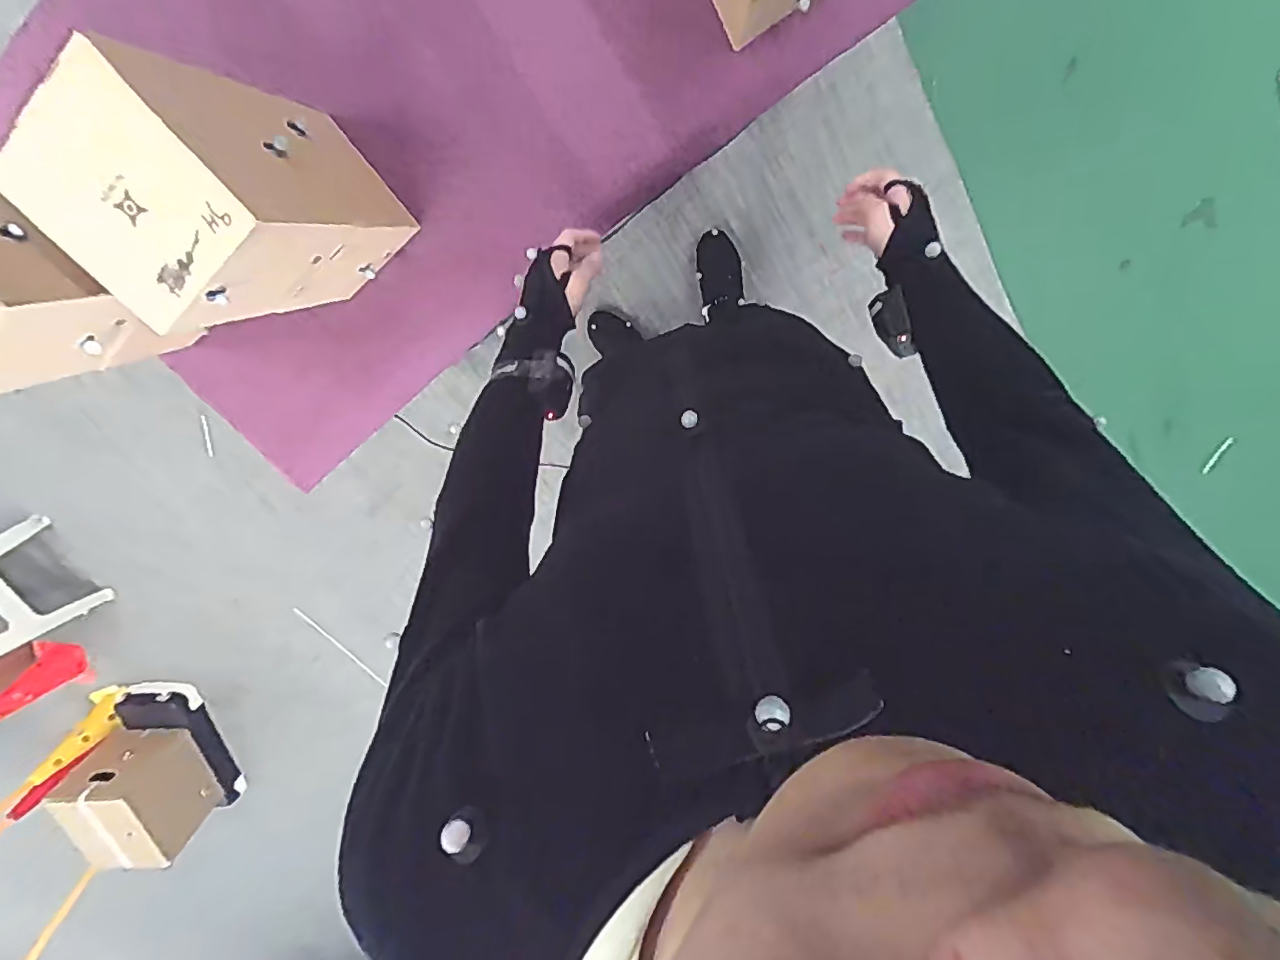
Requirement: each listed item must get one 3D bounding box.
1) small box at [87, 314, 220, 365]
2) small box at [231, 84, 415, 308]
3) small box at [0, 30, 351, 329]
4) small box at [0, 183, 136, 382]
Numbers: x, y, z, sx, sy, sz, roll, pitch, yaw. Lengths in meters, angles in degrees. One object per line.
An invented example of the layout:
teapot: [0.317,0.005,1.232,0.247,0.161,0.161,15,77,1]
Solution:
small box: [-0.704,-0.289,0.737,0.168,0.176,0.179,-34,109,18]
small box: [-0.433,-0.348,0.692,0.168,0.176,0.179,-33,109,17]
small box: [-0.443,-0.280,0.542,0.168,0.176,0.179,-34,108,18]
small box: [-0.713,-0.220,0.589,0.168,0.176,0.179,-34,110,18]
